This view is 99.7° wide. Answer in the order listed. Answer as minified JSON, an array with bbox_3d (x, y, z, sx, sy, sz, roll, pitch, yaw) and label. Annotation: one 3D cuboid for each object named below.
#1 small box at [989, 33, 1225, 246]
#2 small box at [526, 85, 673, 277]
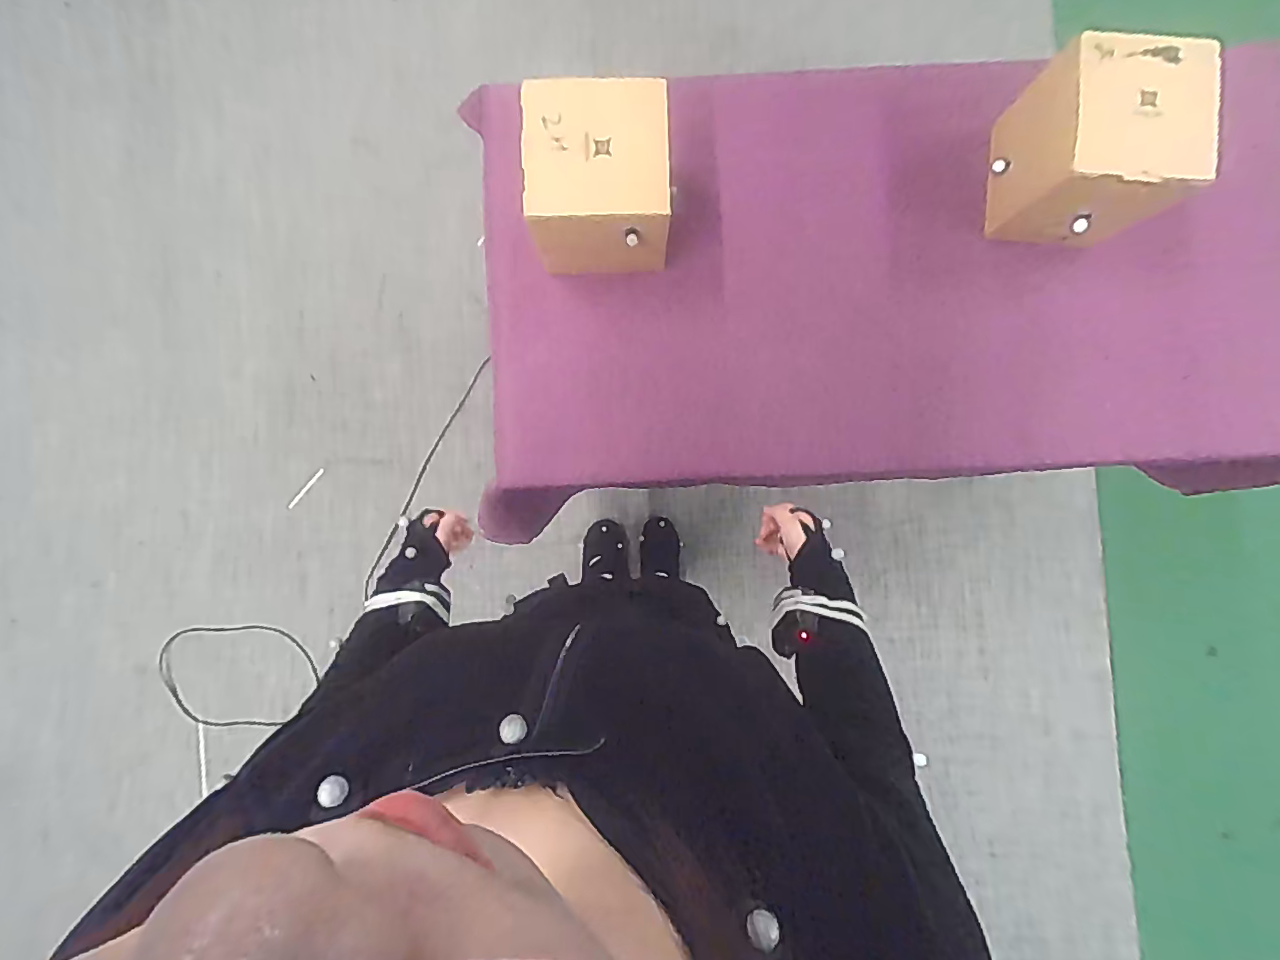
[{"bbox_3d":[0.593,-0.430,0.711,0.168,0.176,0.179,5,89,0],"label":"small box"},{"bbox_3d":[-0.049,-0.384,0.720,0.179,0.176,0.168,-1,87,1],"label":"small box"}]
